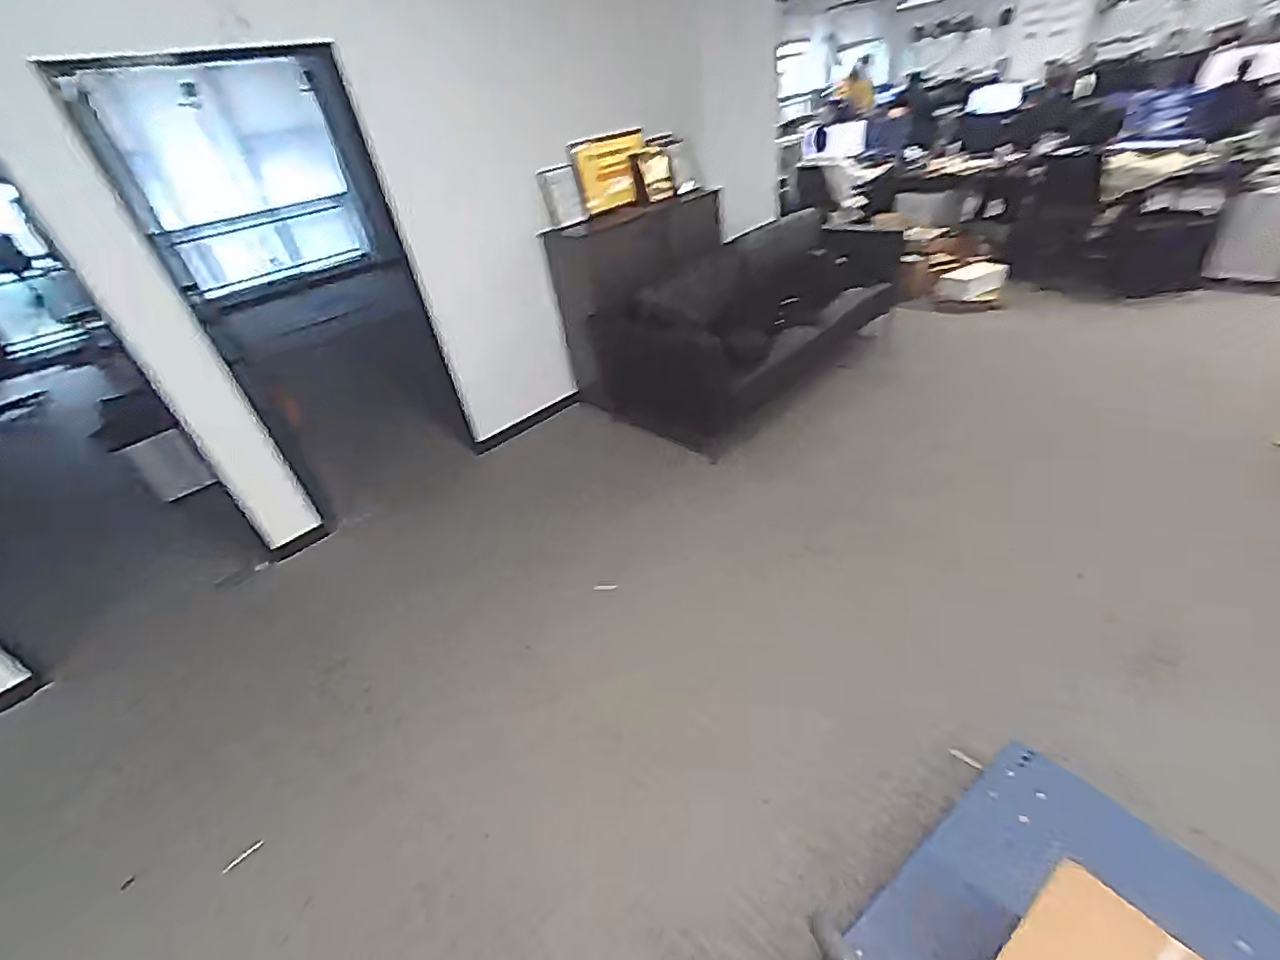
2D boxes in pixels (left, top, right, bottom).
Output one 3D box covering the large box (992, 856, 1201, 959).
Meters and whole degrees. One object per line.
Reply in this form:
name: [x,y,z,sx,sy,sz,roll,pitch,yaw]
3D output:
large box: [0.706,0.932,0.851,0.408,0.320,0.320,-28,39,-25]
